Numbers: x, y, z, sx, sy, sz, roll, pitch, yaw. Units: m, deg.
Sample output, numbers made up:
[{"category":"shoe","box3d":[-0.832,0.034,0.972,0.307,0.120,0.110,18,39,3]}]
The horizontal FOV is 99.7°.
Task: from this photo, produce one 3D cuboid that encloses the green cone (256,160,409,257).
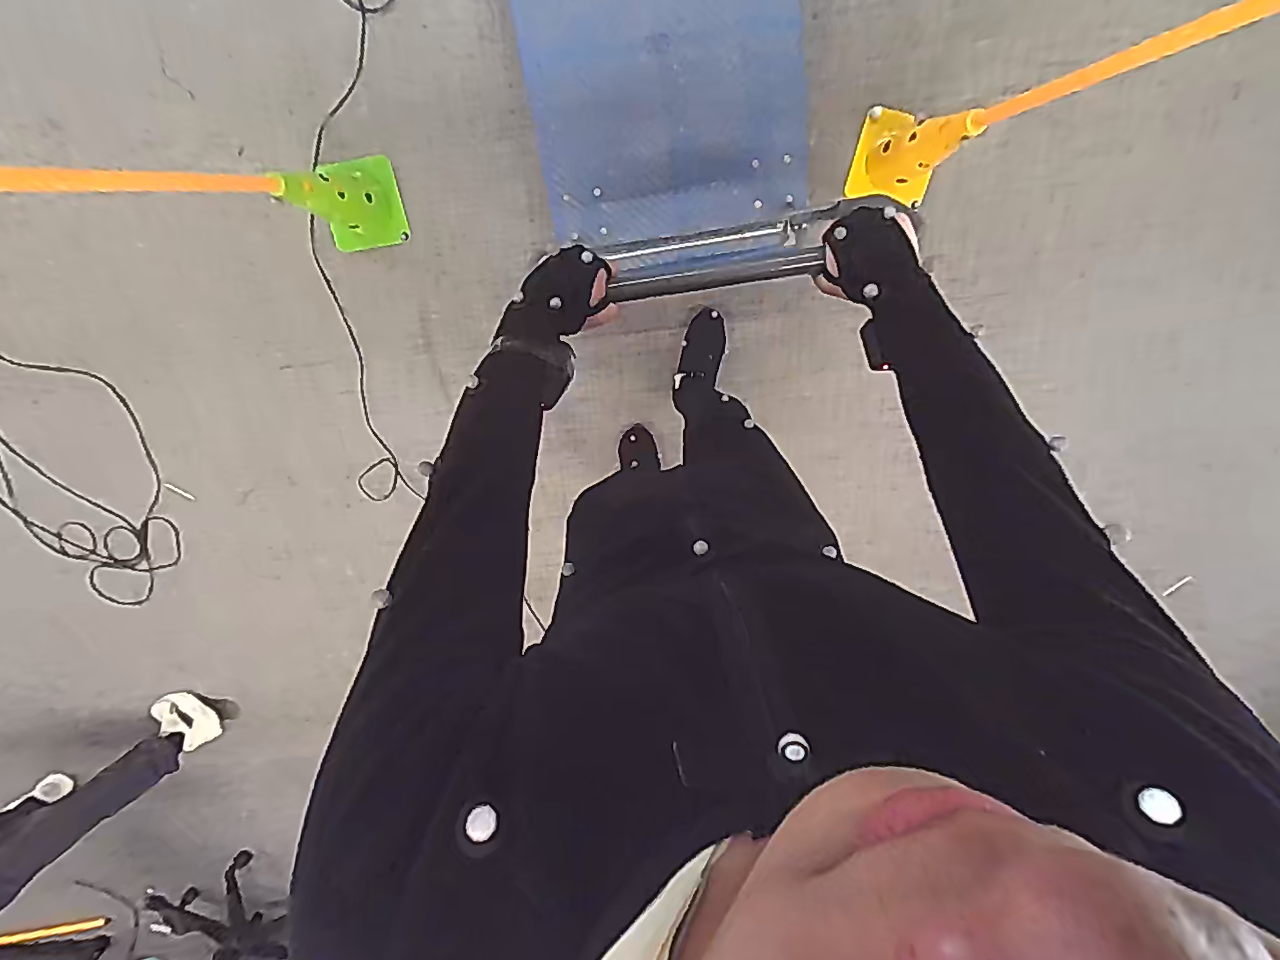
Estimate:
[{"category":"green cone","box3d":[-0.707,-0.625,1.206,0.202,0.368,0.200,-8,110,6]}]
